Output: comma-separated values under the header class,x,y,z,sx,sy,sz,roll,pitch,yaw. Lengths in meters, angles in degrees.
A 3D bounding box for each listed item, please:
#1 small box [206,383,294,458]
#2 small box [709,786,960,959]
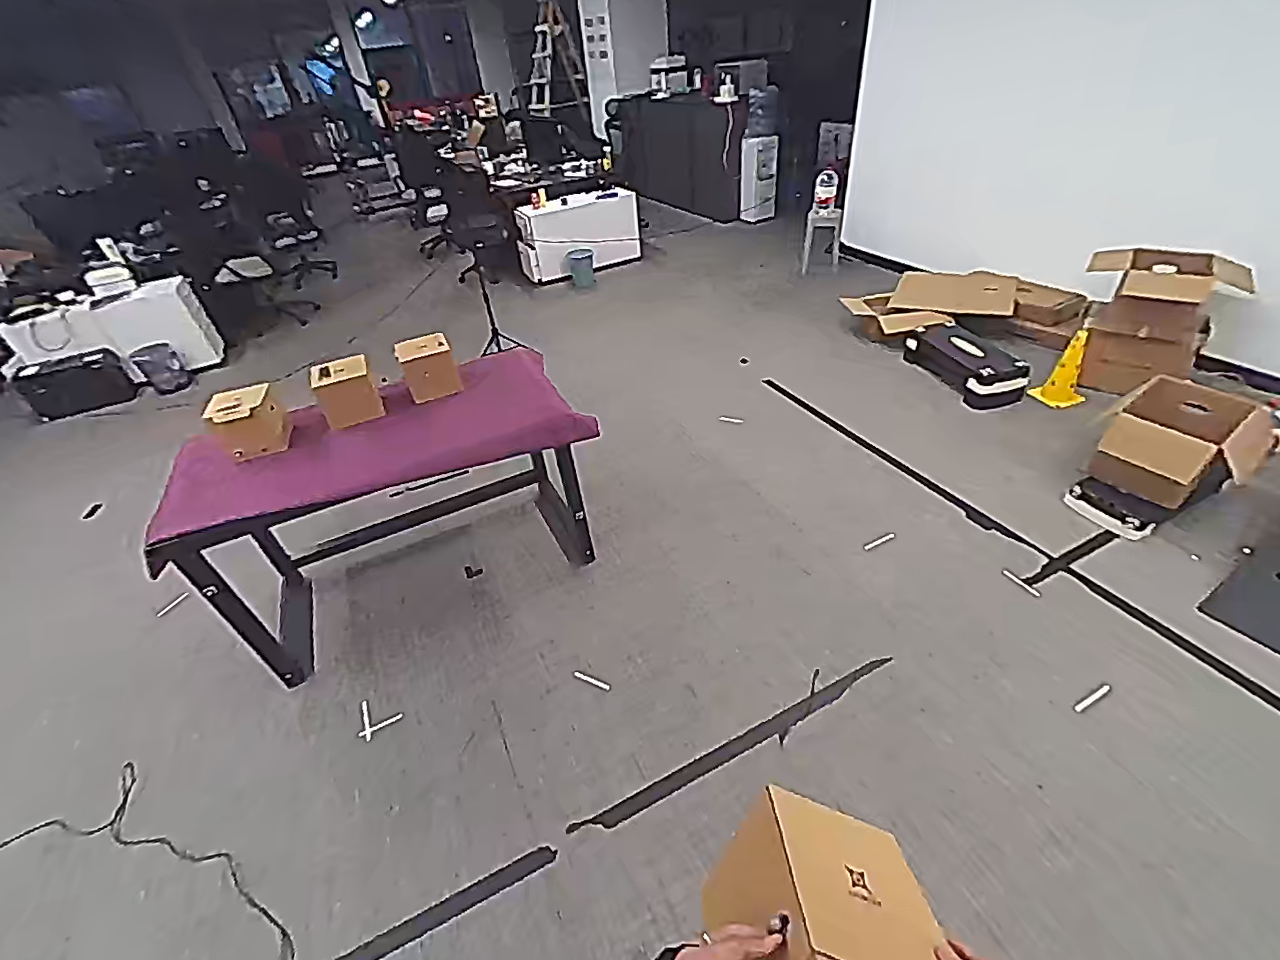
class,x,y,z,sx,sy,sz,roll,pitch,yaw
small box,-1.255,-0.187,1.756,0.168,0.176,0.179,-17,40,-13
small box,0.180,0.460,0.537,0.168,0.176,0.179,23,14,-5
